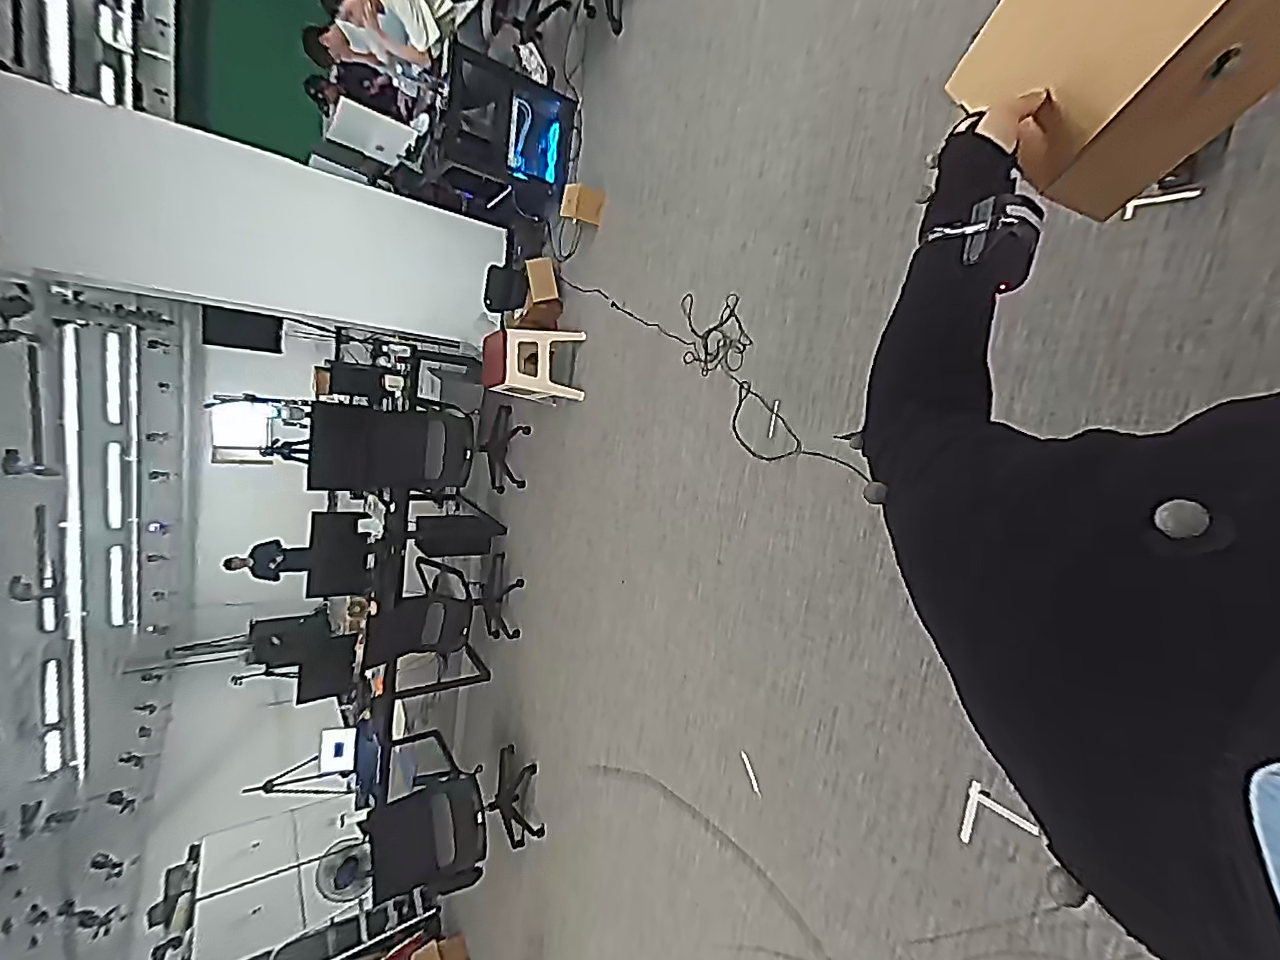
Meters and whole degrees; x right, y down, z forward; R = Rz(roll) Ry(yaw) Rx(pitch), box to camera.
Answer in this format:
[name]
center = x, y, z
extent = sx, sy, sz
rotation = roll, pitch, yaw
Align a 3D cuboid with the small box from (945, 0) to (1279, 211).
[small box]
center = 0.441, -0.389, 0.505
extent = 0.179, 0.176, 0.168
rotation = -48, 56, 49
